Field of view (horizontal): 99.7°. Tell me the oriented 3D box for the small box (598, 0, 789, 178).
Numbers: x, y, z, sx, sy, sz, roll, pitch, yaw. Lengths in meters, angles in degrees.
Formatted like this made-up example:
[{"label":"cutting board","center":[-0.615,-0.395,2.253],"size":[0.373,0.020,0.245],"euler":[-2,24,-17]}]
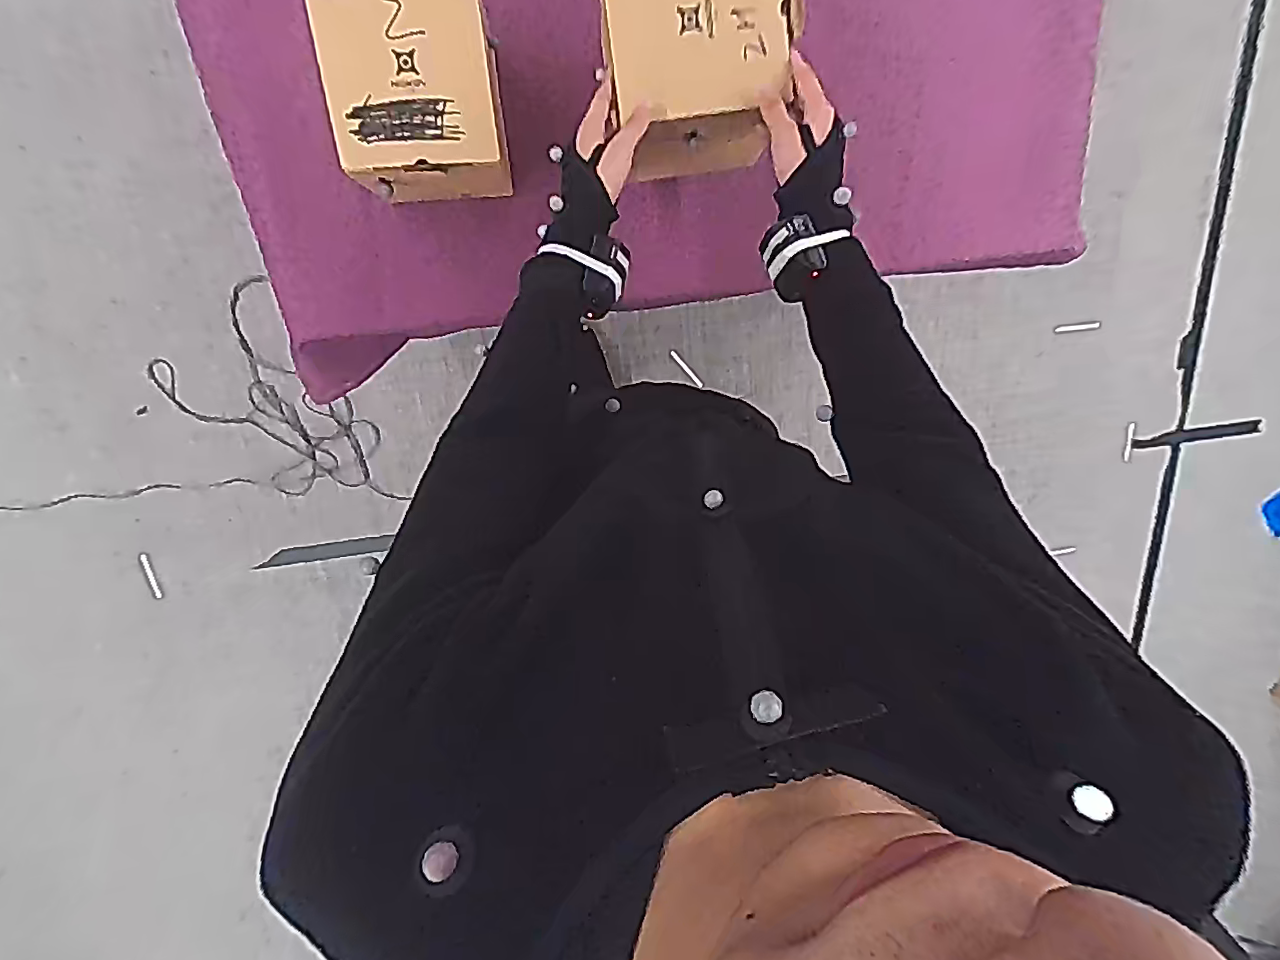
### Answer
[{"label":"small box","center":[0.049,-0.453,0.593],"size":[0.179,0.176,0.168],"euler":[-8,102,-1]}]
